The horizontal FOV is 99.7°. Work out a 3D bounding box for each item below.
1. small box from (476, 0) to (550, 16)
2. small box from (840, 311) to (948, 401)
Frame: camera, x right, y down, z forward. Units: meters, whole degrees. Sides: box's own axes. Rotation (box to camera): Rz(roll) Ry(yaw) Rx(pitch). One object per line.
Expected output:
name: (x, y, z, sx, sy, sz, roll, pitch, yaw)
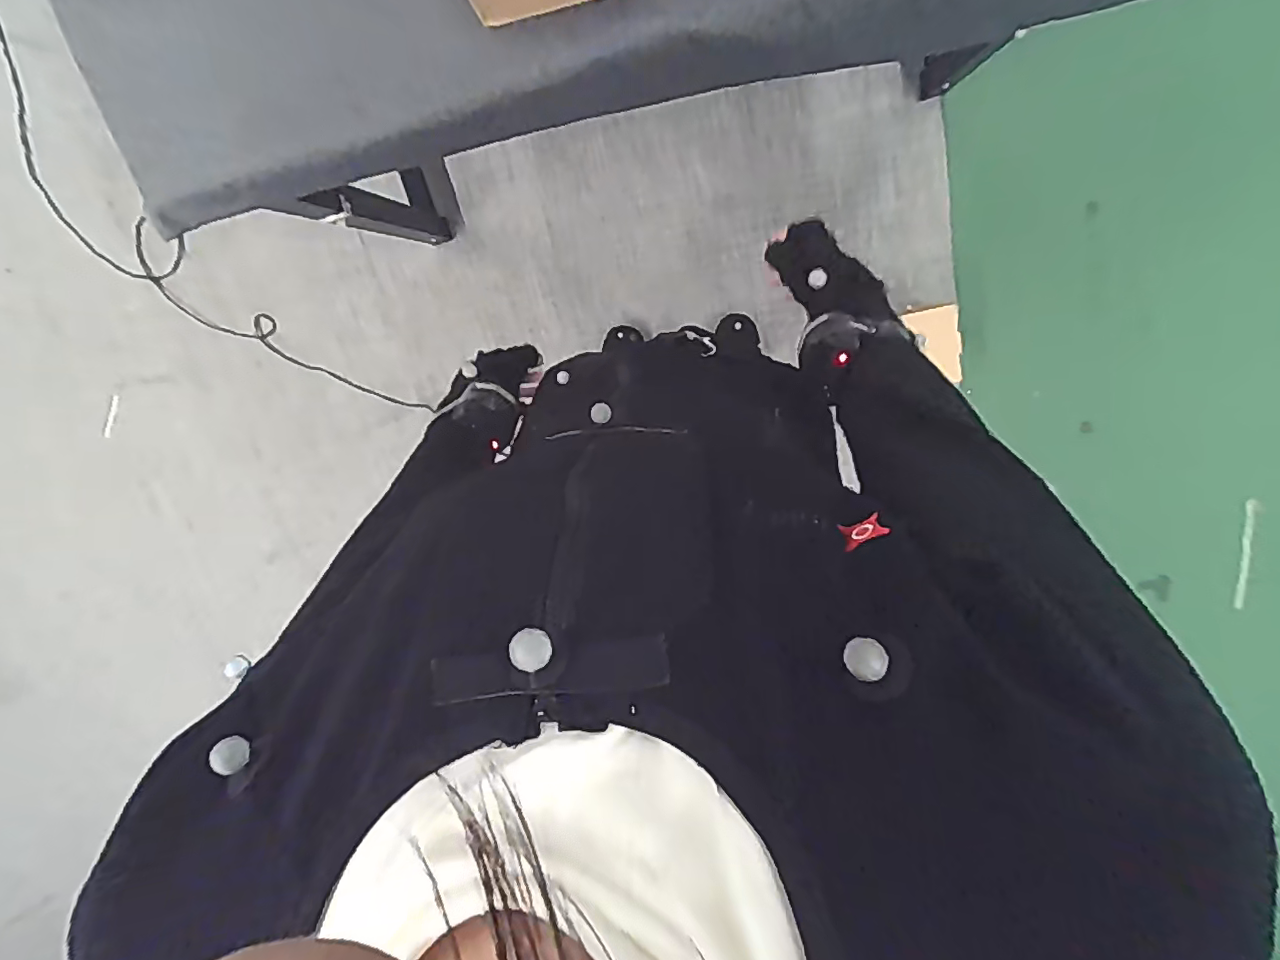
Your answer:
small box: (-0.091, -0.523, 0.434, 0.179, 0.176, 0.168, -8, 107, 6)
small box: (0.575, -0.288, 1.238, 0.179, 0.176, 0.168, -10, 106, 8)
